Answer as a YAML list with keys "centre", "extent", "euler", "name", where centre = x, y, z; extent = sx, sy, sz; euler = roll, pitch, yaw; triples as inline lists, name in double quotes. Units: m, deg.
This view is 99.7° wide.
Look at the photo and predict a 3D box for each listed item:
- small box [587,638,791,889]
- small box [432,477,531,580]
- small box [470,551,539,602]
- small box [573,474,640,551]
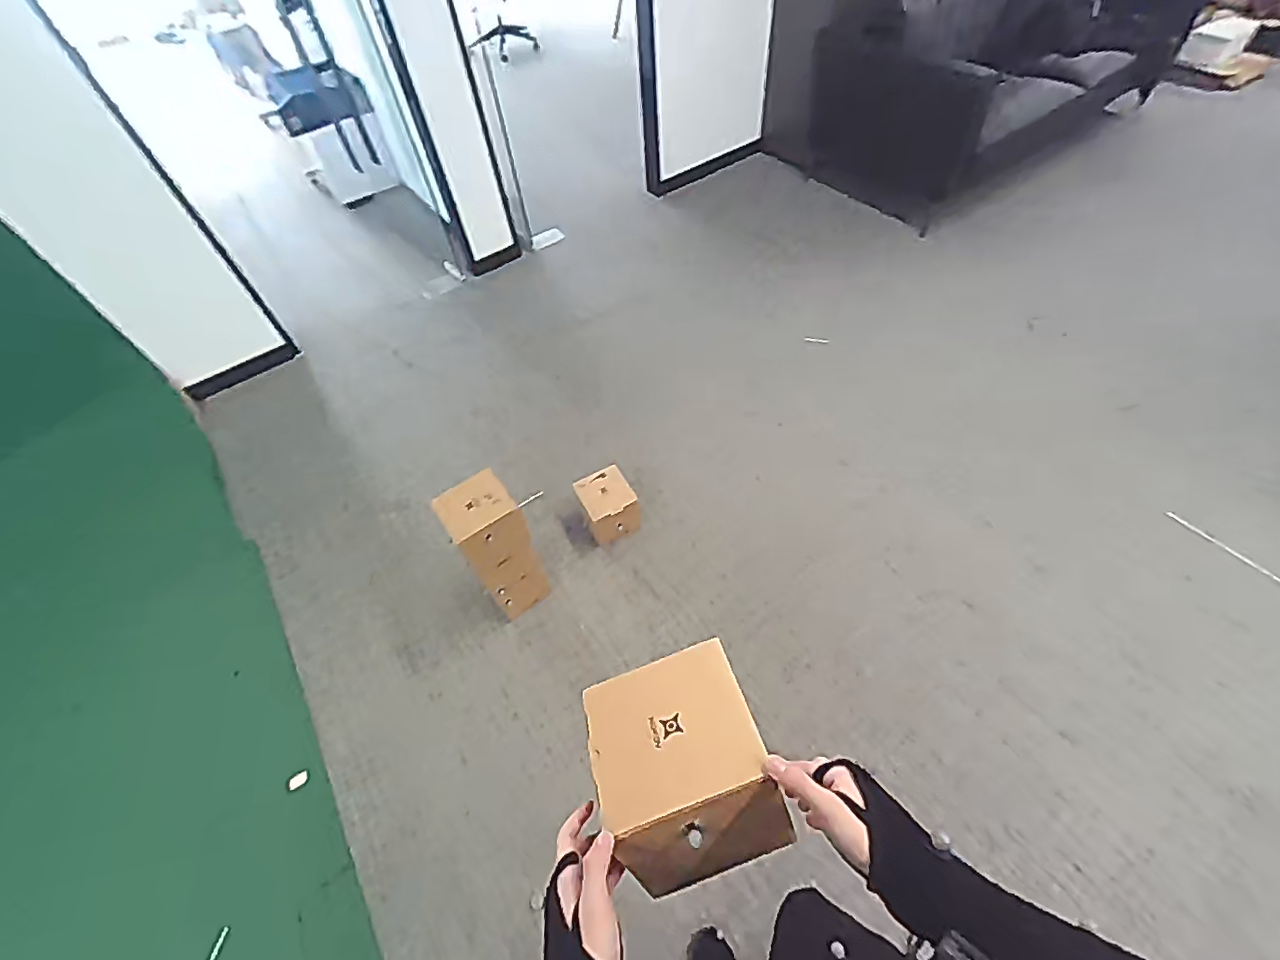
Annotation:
- centre: [0.057, 0.319, 0.613]
  extent: [0.179, 0.176, 0.168]
  euler: [-22, 34, 0]
  name: "small box"
- centre: [-0.414, 0.133, 1.431]
  extent: [0.179, 0.176, 0.168]
  euler: [-32, 57, -19]
  name: "small box"
- centre: [-0.414, 0.230, 1.565]
  extent: [0.168, 0.176, 0.179]
  euler: [-33, 56, -19]
  name: "small box"
- centre: [-0.109, 0.119, 1.830]
  extent: [0.168, 0.176, 0.179]
  euler: [-25, 56, -14]
  name: "small box"
